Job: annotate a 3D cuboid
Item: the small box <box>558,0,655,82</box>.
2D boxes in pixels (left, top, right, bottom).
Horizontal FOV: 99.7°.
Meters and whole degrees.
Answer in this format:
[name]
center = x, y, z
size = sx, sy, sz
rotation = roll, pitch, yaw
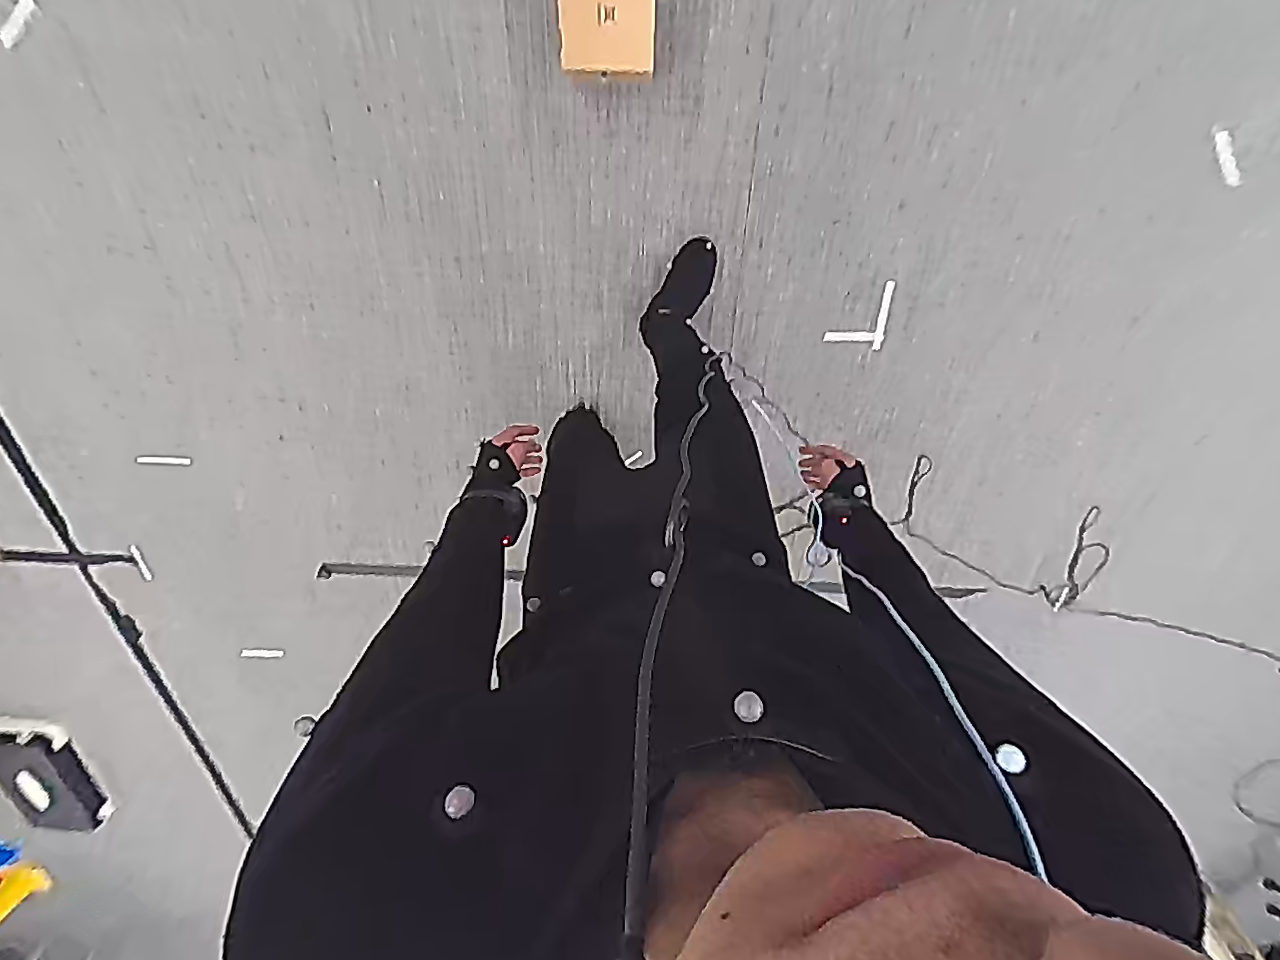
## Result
[small box]
center = -0.061, -0.884, 1.047
size = 0.179, 0.176, 0.168
rotation = 1, 121, 0
